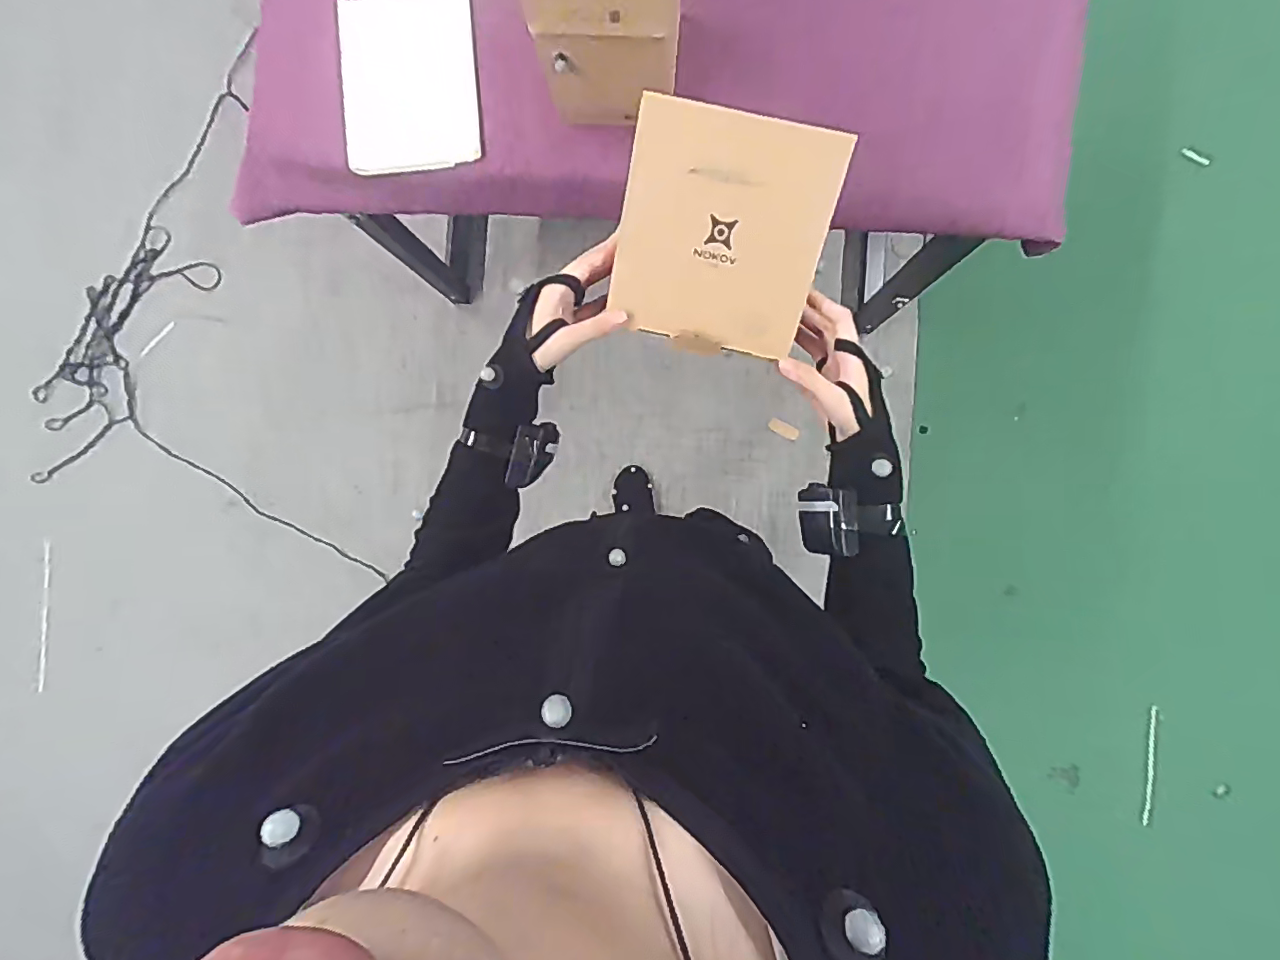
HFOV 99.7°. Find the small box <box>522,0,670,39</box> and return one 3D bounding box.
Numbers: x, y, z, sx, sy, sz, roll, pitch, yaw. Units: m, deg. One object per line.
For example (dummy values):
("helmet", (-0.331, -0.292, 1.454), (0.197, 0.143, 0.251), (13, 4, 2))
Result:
("small box", (-0.048, -0.604, 0.559), (0.168, 0.176, 0.179), (5, 88, 4))
